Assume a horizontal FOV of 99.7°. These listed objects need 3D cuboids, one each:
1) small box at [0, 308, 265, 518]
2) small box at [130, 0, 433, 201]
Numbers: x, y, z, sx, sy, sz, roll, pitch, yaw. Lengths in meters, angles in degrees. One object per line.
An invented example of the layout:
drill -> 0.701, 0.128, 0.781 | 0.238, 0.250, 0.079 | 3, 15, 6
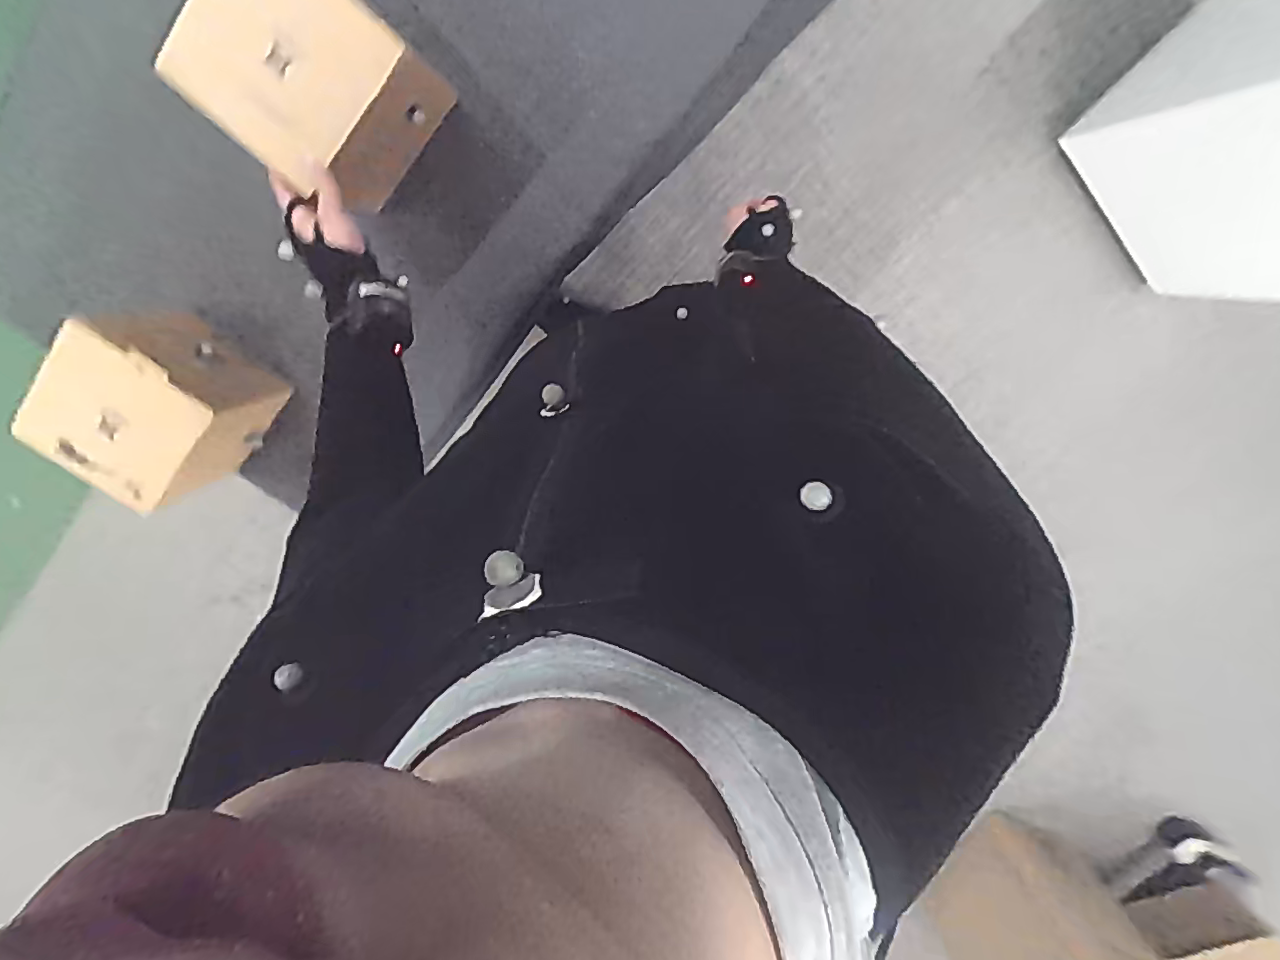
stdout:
small box -> -0.609, -0.092, 0.662 | 0.168, 0.176, 0.179 | 40, 103, -16
small box -> -0.338, -0.420, 0.553 | 0.168, 0.176, 0.179 | 40, 105, -16
